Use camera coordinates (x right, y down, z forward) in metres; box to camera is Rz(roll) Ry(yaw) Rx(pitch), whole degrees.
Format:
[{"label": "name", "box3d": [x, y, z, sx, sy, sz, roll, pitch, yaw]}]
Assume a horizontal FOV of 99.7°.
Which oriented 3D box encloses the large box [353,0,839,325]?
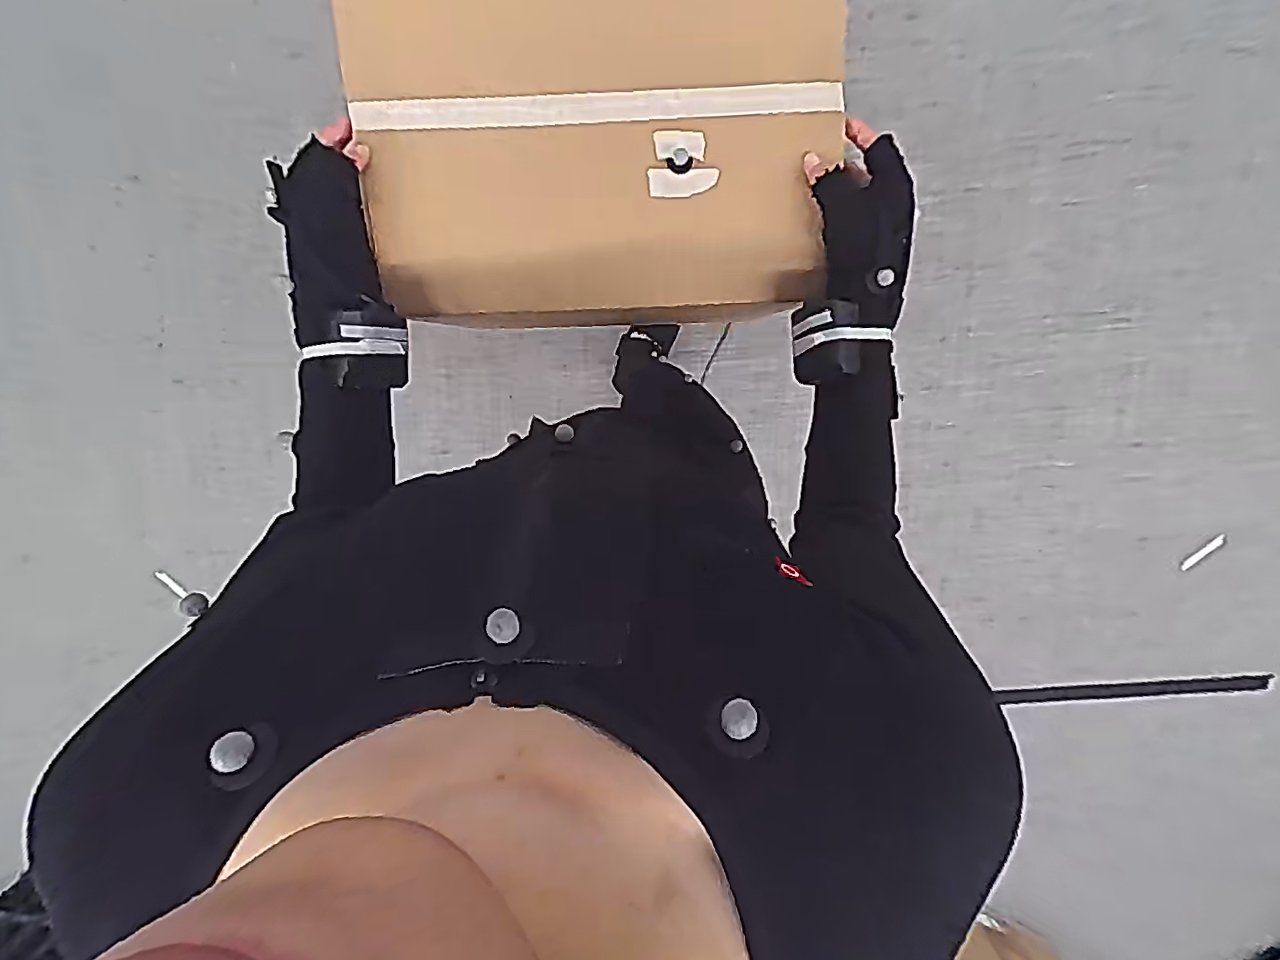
[{"label": "large box", "box3d": [-0.036, -0.351, 0.603, 0.408, 0.320, 0.320, -2, 103, -1]}]
